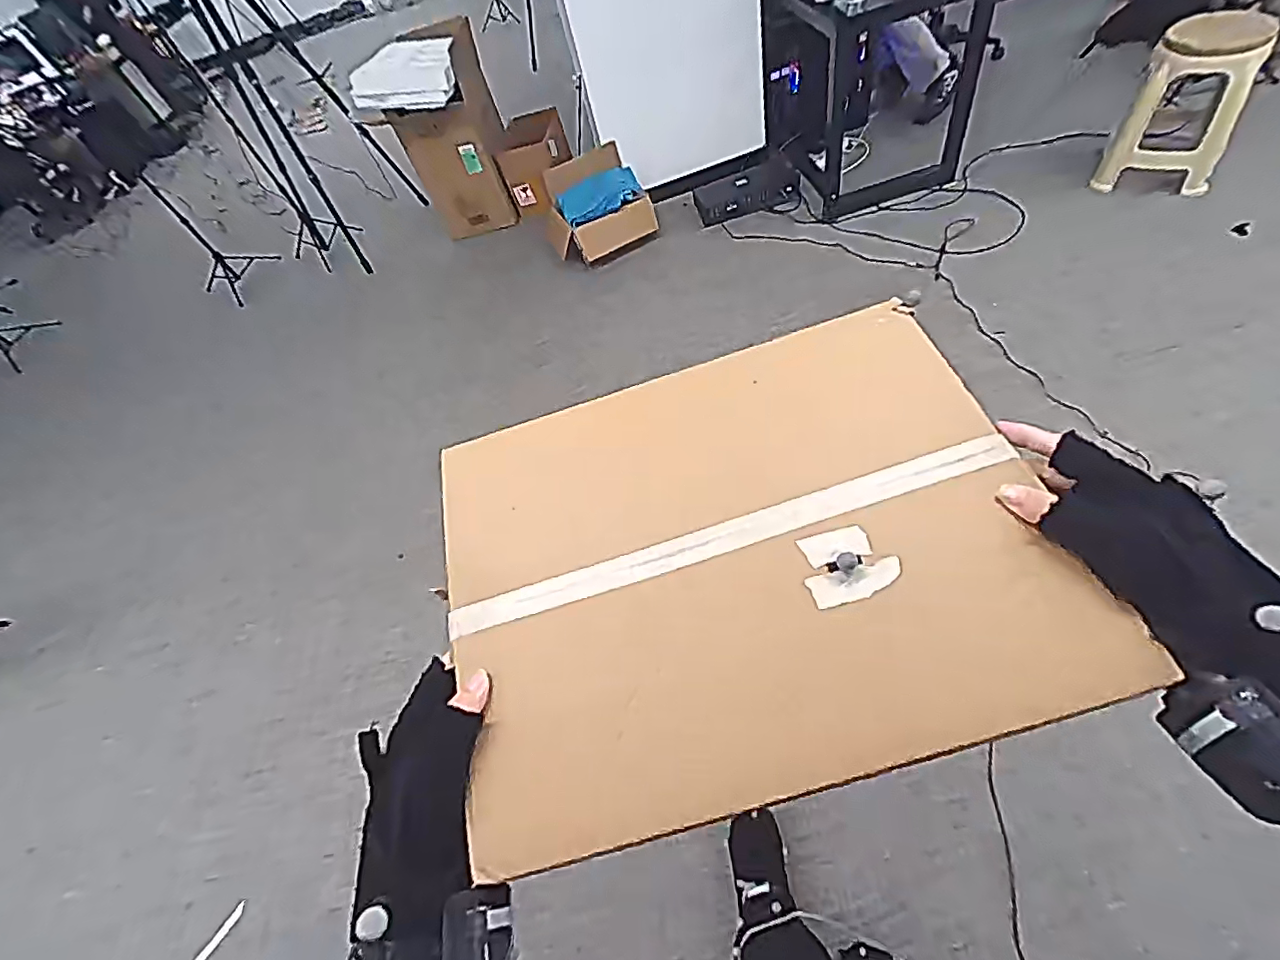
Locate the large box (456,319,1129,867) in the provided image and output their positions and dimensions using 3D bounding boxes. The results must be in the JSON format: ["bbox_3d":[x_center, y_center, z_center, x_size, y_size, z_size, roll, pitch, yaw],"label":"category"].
[{"bbox_3d":[0.089,0.119,0.522,0.408,0.320,0.320,-18,59,2],"label":"large box"}]
